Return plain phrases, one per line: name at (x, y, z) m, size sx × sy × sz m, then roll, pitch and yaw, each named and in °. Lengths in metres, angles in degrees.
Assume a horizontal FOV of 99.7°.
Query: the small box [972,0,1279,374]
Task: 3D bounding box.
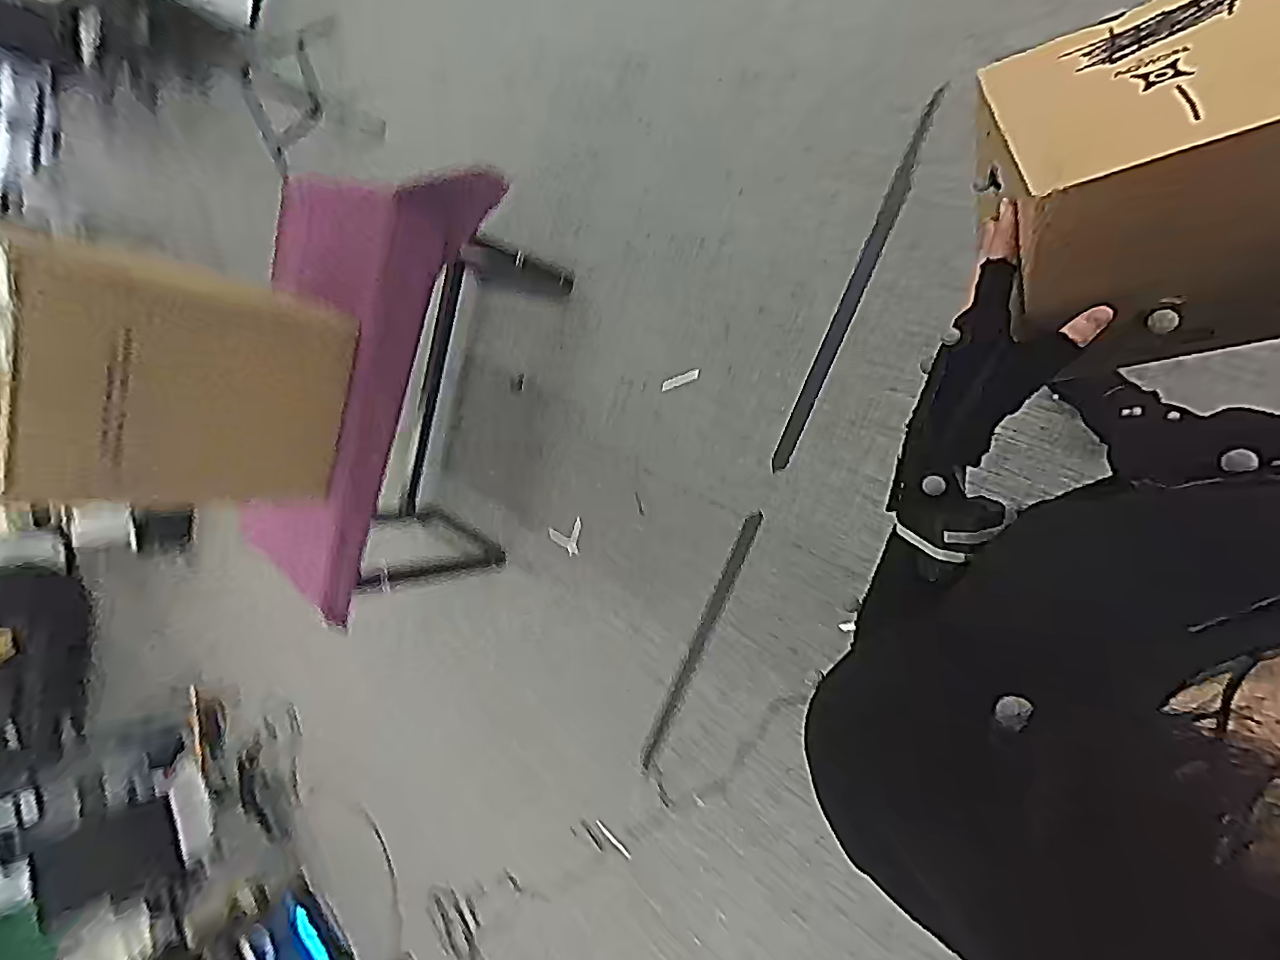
small box at (0.340, -0.205, 0.373) m, size 0.168 × 0.176 × 0.179 m, roll -11°, pitch 51°, yaw 27°
